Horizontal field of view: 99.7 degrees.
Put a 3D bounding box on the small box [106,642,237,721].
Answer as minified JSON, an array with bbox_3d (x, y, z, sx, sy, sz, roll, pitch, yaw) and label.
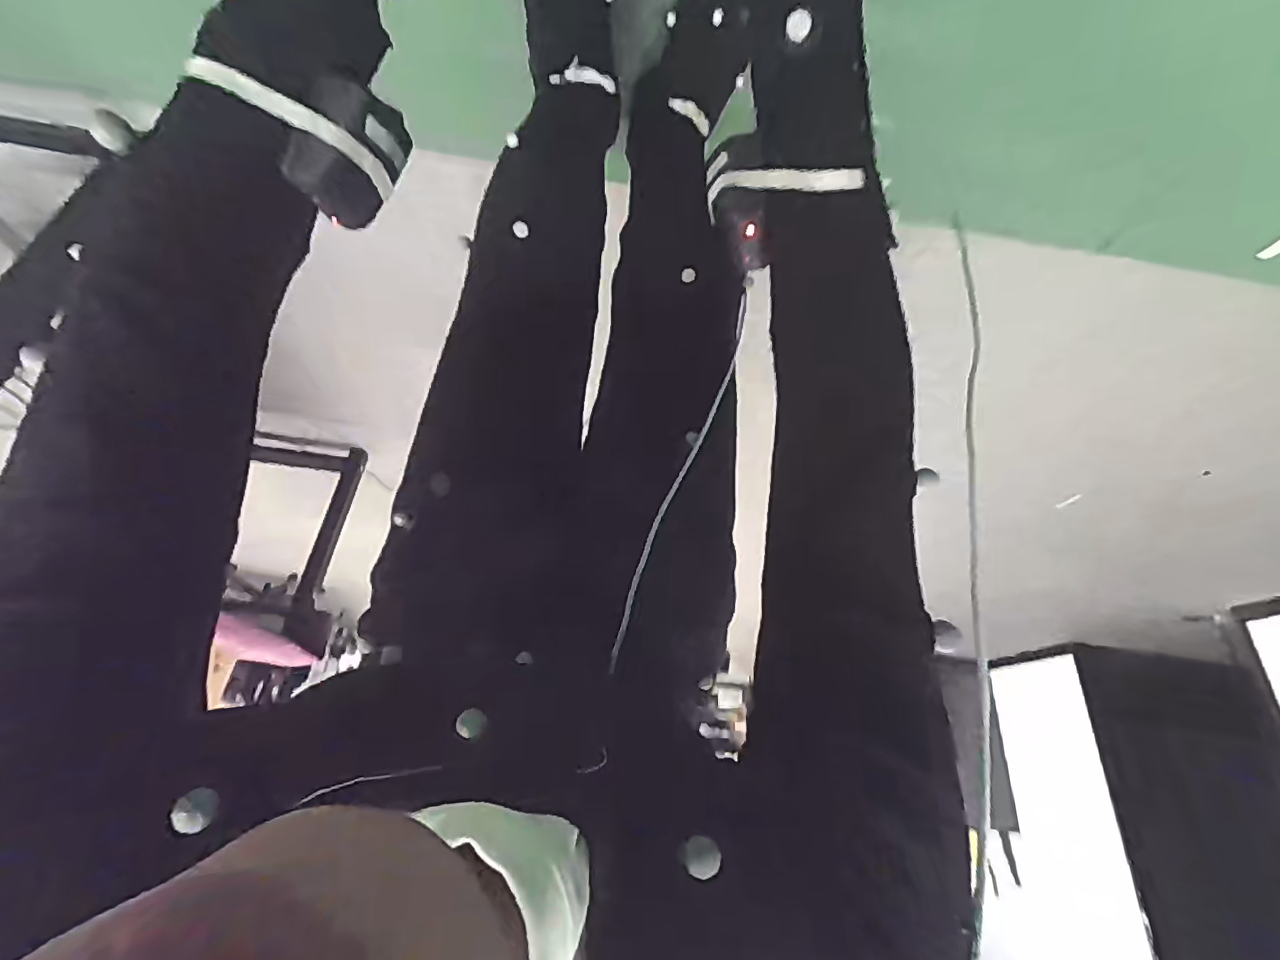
[{"bbox_3d":[-1.237,0.537,1.445,0.179,0.176,0.168,9,152,-4],"label":"small box"}]
